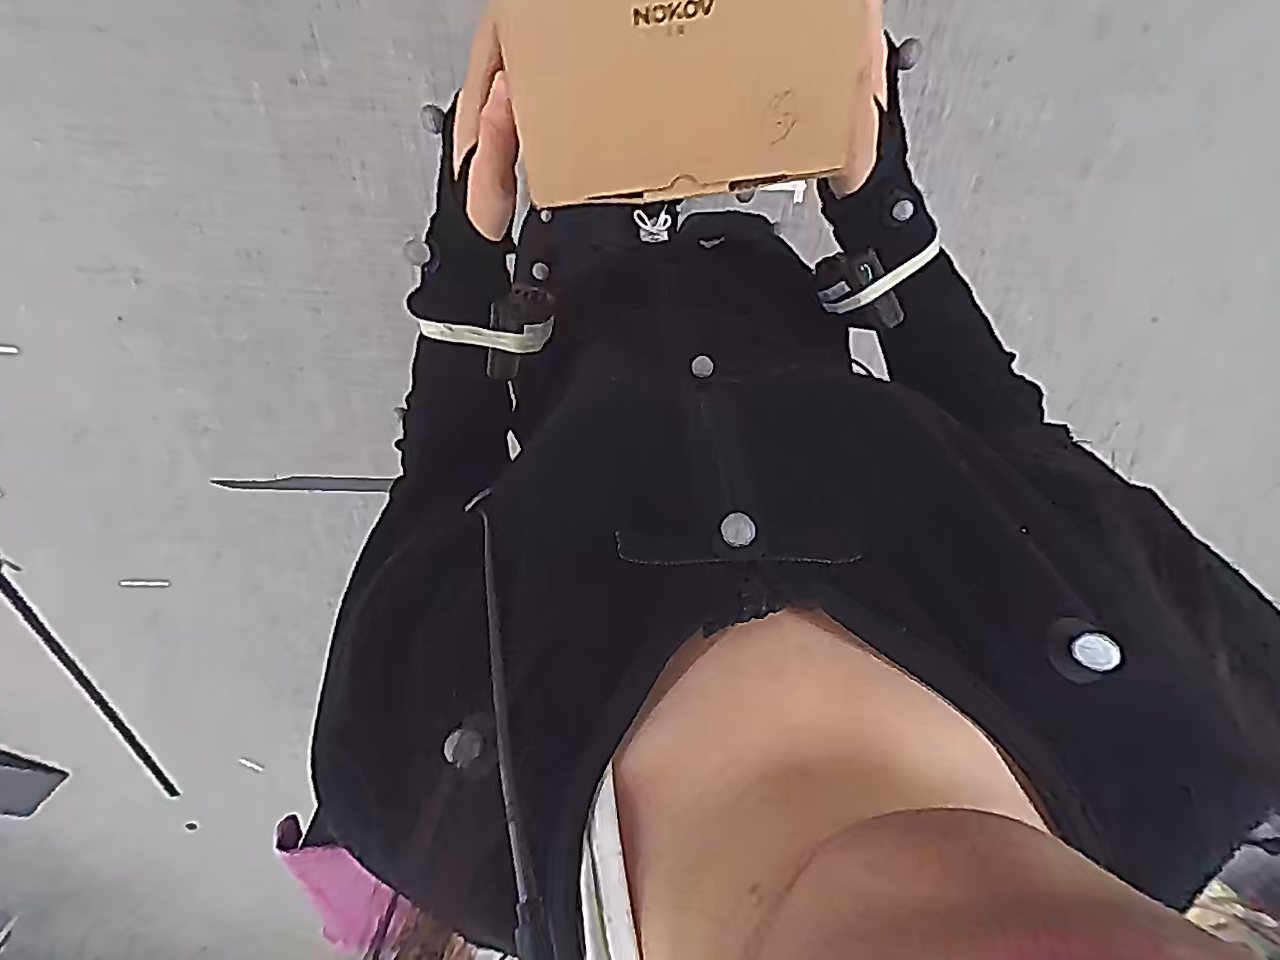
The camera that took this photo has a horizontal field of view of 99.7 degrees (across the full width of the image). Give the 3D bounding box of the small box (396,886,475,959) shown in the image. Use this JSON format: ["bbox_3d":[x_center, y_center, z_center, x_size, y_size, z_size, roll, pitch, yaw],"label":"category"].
[{"bbox_3d":[-0.544,1.230,1.460,0.168,0.176,0.179,5,122,-7],"label":"small box"}]

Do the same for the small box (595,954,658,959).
[{"bbox_3d":[-0.034,1.319,1.352,0.168,0.176,0.179,1,124,-4],"label":"small box"}]

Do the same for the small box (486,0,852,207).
[{"bbox_3d":[0.017,-0.268,0.300,0.168,0.176,0.179,-4,122,8],"label":"small box"}]

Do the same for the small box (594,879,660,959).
[{"bbox_3d":[-0.042,1.225,1.486,0.168,0.176,0.179,2,123,-4],"label":"small box"}]
